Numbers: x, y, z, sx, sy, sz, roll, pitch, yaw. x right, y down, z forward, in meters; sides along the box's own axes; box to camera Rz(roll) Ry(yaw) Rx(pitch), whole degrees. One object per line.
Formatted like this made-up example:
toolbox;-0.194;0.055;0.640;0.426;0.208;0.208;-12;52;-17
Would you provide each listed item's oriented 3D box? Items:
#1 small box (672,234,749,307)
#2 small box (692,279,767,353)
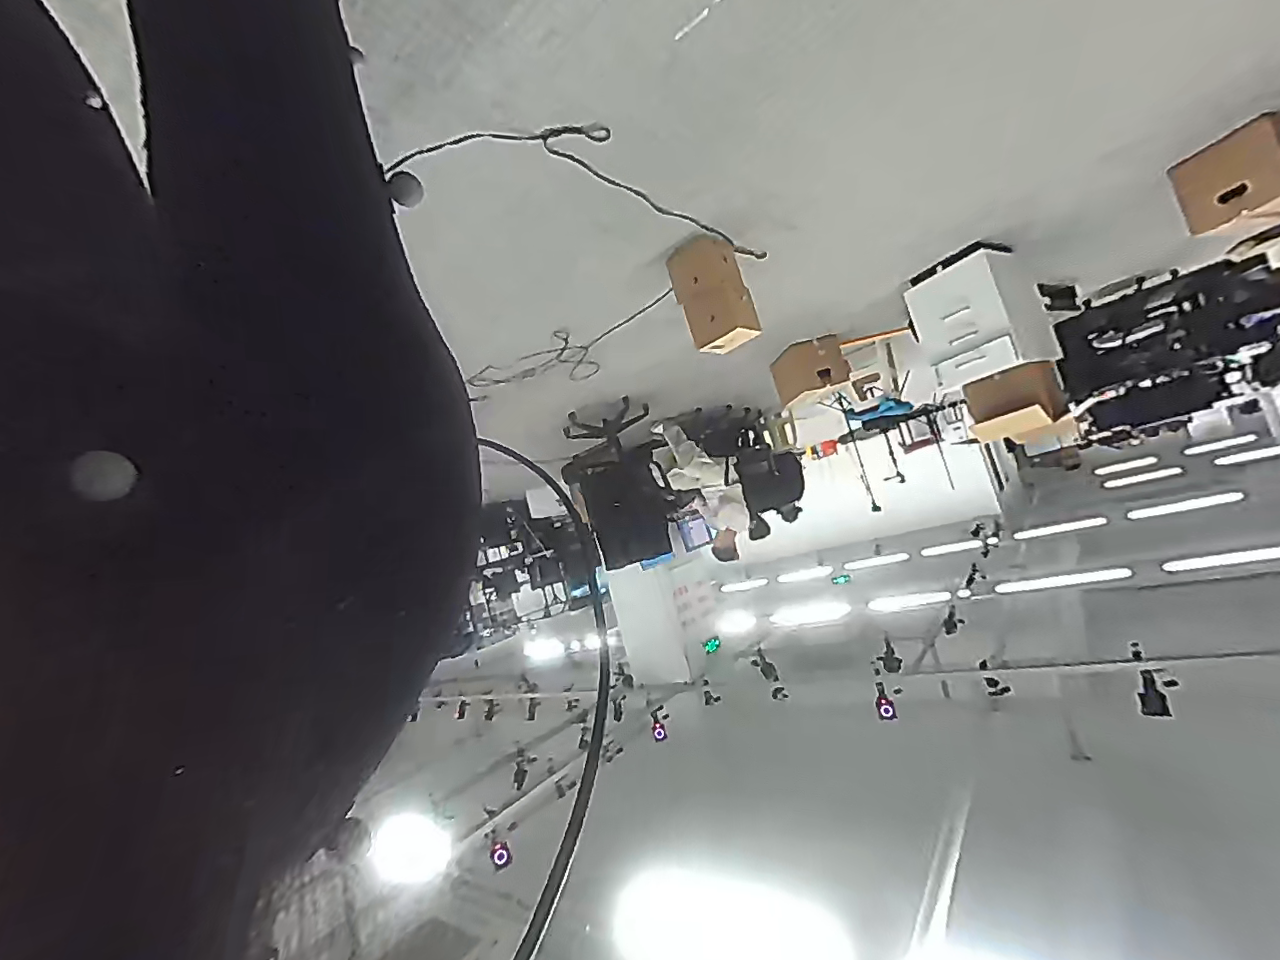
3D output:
small box;0.234;-0.703;1.835;0.168;0.176;0.179;-10;172;-44
small box;0.295;-0.550;1.829;0.179;0.176;0.168;-23;172;41
